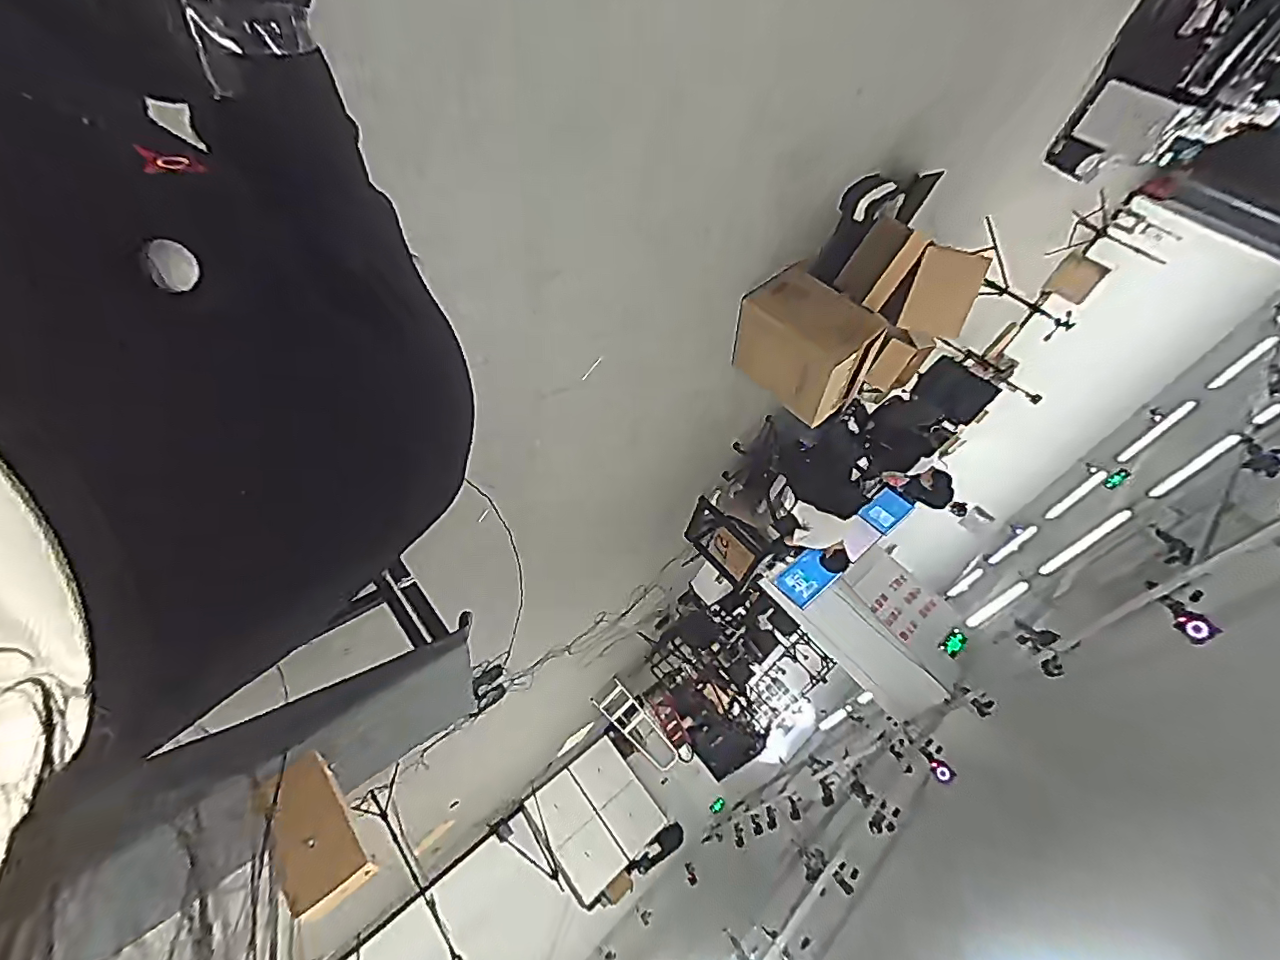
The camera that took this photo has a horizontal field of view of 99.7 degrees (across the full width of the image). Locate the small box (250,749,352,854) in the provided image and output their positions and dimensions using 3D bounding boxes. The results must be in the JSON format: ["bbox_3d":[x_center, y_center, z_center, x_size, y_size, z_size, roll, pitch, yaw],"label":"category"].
[{"bbox_3d":[-0.906,0.863,1.445,0.179,0.176,0.168,-30,154,-33],"label":"small box"}]

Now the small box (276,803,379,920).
[{"bbox_3d":[-0.803,0.977,1.388,0.179,0.176,0.168,-27,152,-33],"label":"small box"}]
